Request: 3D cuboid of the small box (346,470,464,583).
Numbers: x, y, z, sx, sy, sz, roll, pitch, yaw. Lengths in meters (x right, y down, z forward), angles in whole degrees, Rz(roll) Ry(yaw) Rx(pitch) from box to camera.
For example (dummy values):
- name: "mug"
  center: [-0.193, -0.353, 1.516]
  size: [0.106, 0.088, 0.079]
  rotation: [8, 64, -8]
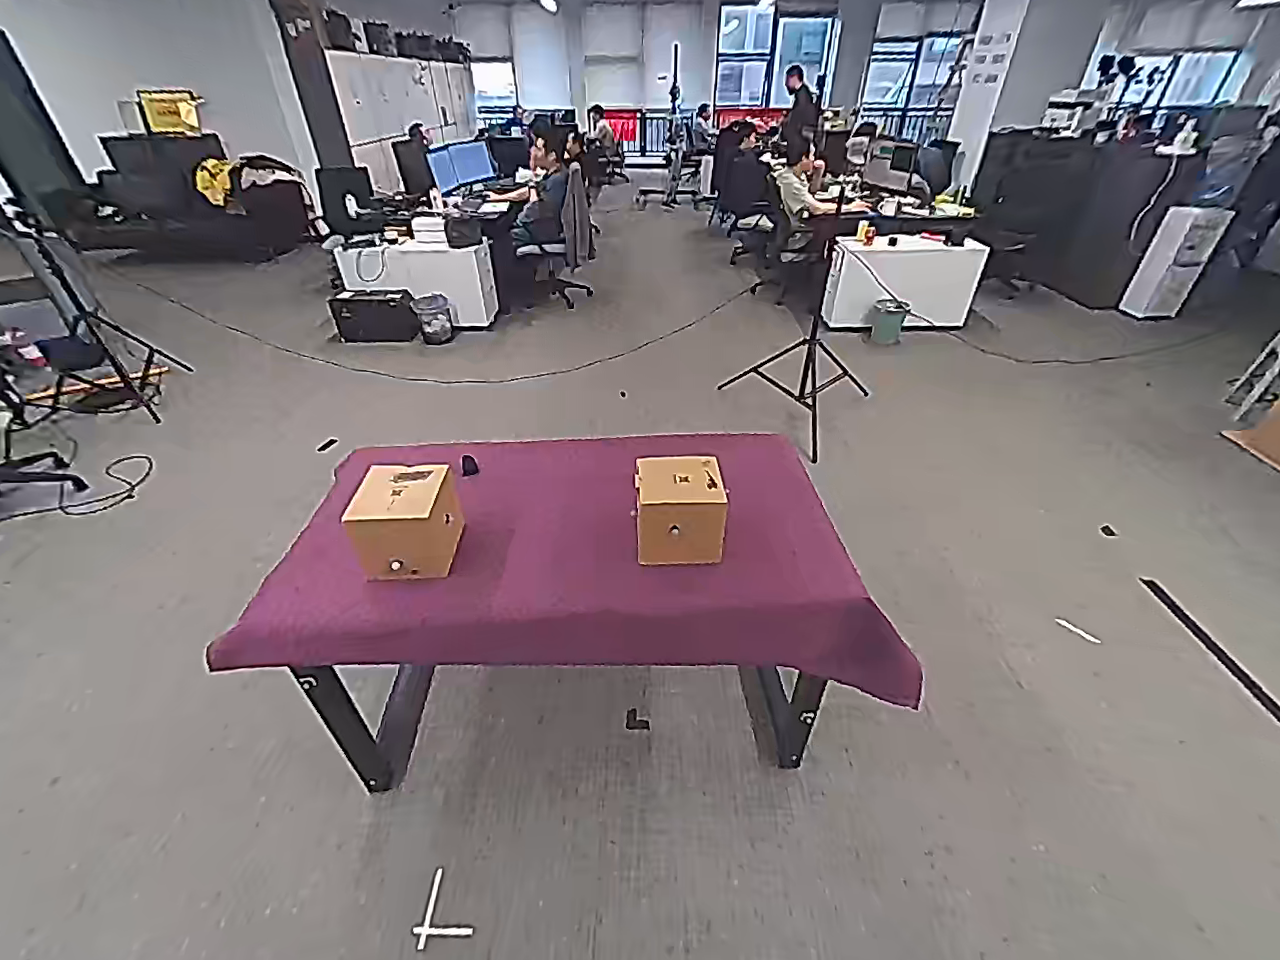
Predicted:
- name: "small box"
  center: [-0.479, 0.096, 1.137]
  size: [0.168, 0.176, 0.179]
  rotation: [-2, 37, -2]

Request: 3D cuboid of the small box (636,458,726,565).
- name: "small box"
  center: [0.085, 0.070, 1.165]
  size: [0.179, 0.176, 0.168]
  rotation: [-3, 36, -1]
